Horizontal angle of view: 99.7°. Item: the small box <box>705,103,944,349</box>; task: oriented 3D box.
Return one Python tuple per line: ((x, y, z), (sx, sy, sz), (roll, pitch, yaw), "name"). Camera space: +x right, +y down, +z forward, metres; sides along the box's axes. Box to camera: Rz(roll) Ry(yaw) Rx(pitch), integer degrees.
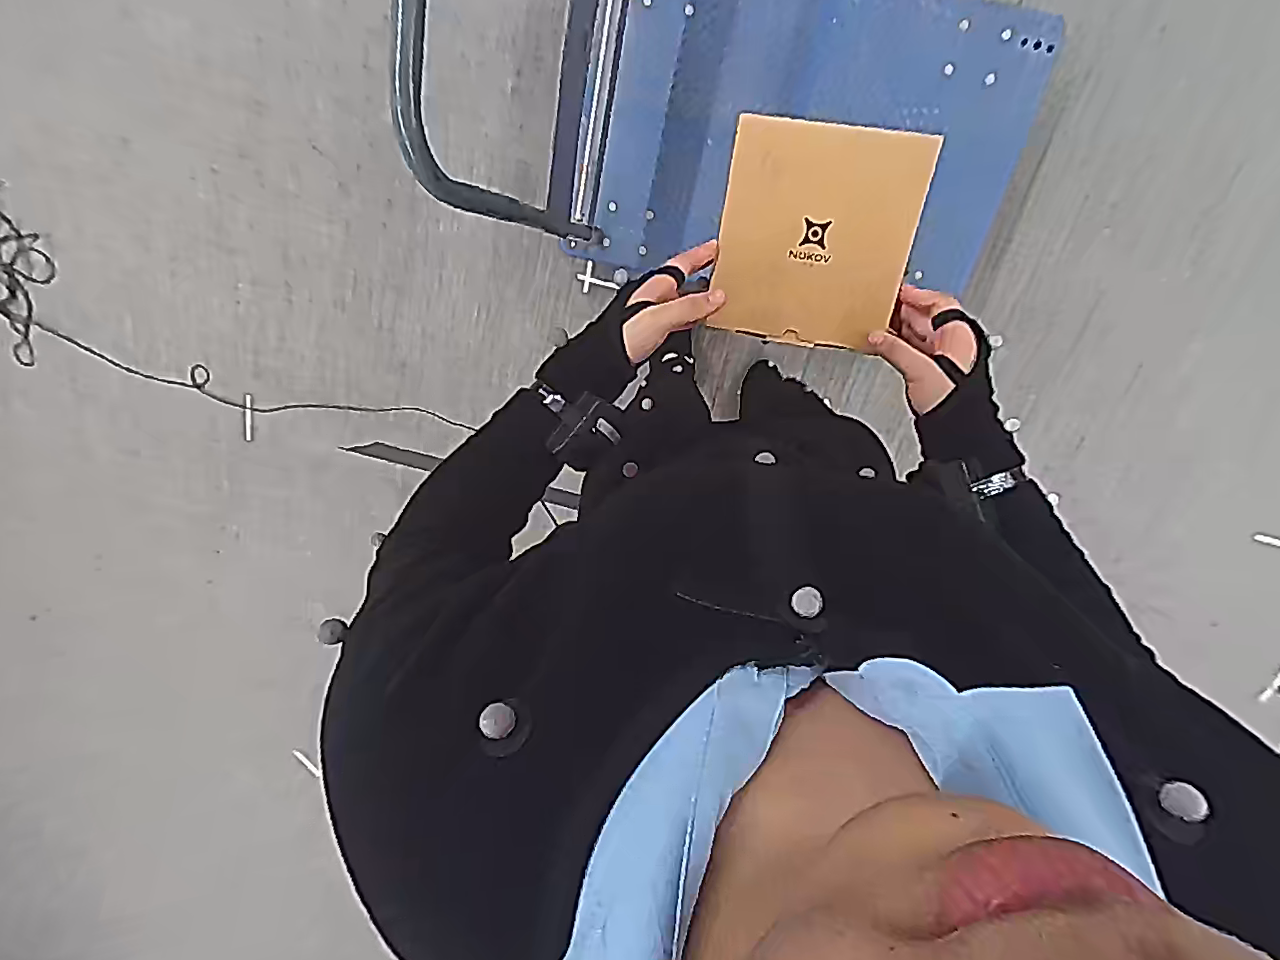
((0.162, -0.239, 0.538), (0.168, 0.176, 0.179), (11, 111, 6), "small box")
